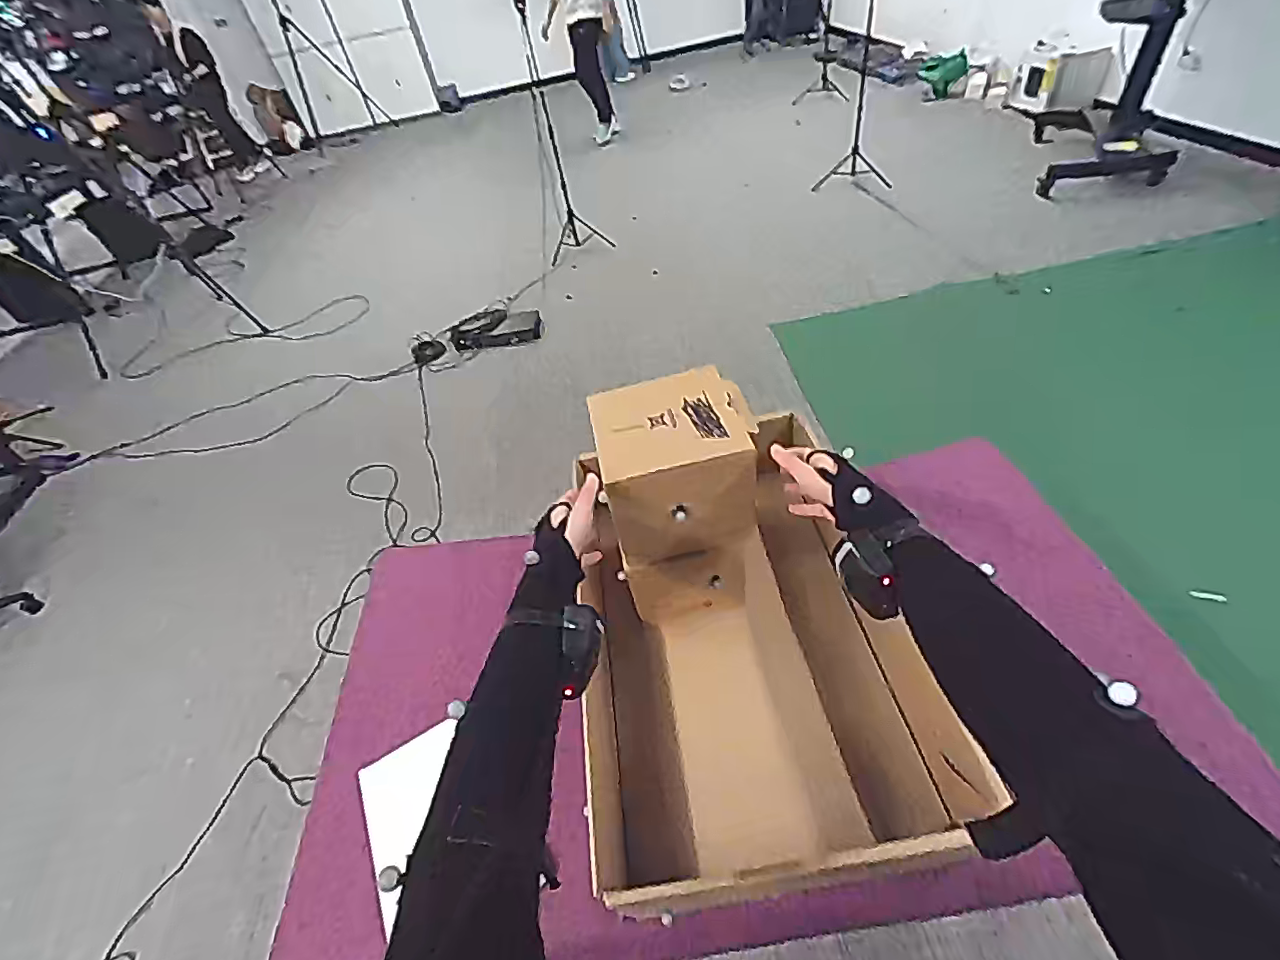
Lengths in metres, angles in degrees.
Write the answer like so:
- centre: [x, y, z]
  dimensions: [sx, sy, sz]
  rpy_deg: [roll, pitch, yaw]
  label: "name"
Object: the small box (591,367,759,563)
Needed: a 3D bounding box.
- centre: [0.044, -0.017, 0.702]
  dimensions: [0.179, 0.176, 0.168]
  rpy_deg: [-13, 46, -1]
  label: "small box"
